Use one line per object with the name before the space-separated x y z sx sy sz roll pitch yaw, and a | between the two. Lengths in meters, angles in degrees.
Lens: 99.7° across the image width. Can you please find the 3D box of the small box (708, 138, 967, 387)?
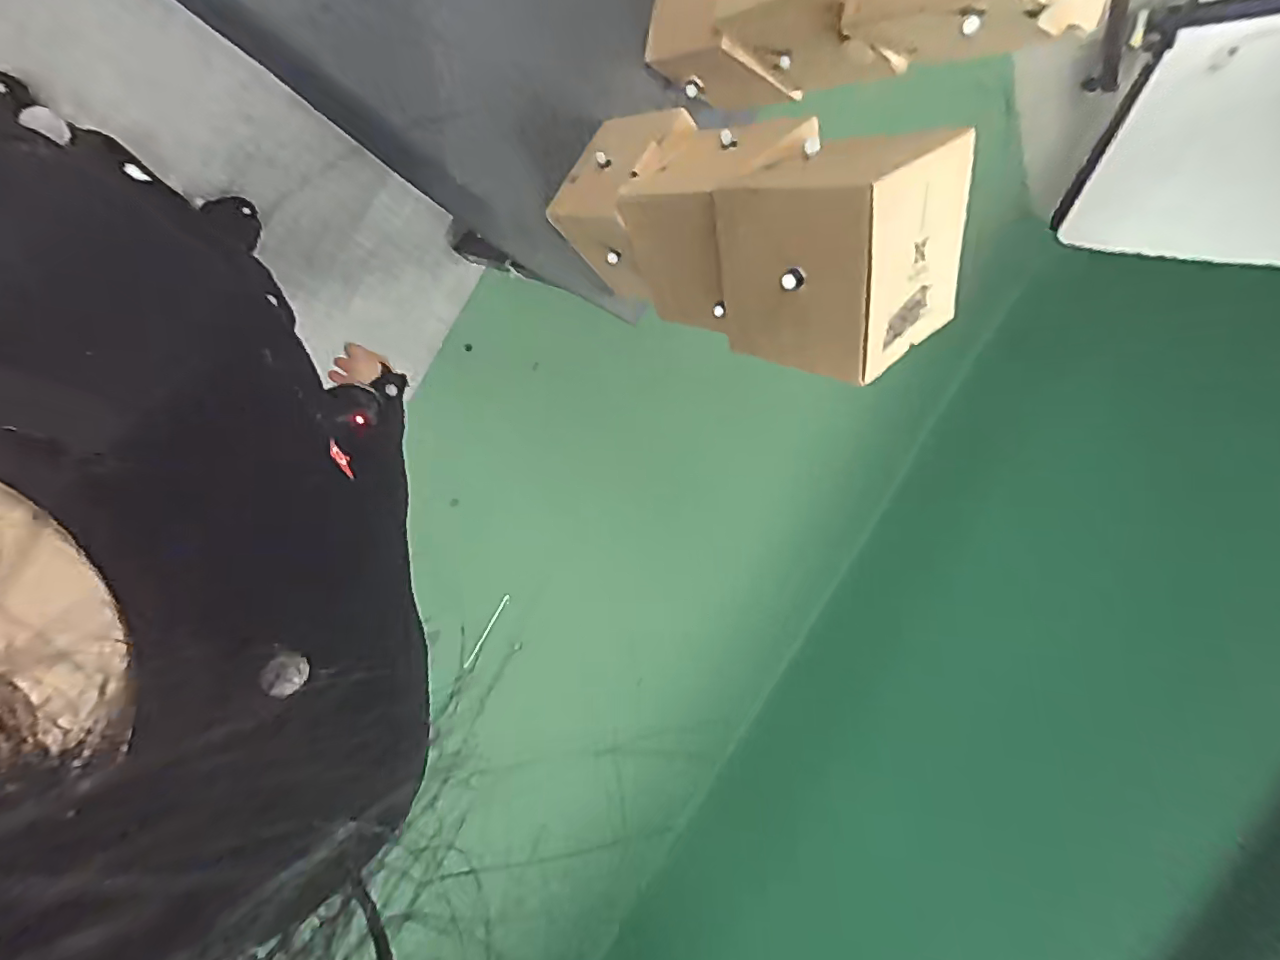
small box | 0.188 -0.222 0.543 0.168 0.176 0.179 -35 131 -25

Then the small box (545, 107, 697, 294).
small box | -0.001 -0.377 0.765 0.179 0.176 0.168 36 85 -46

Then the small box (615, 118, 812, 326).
small box | 0.097 -0.302 0.656 0.168 0.176 0.179 -43 135 -19

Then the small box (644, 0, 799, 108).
small box | 0.127 -0.636 0.732 0.168 0.176 0.179 -1 116 -38

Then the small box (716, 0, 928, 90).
small box | 0.211 -0.576 0.602 0.168 0.176 0.179 4 111 -40
